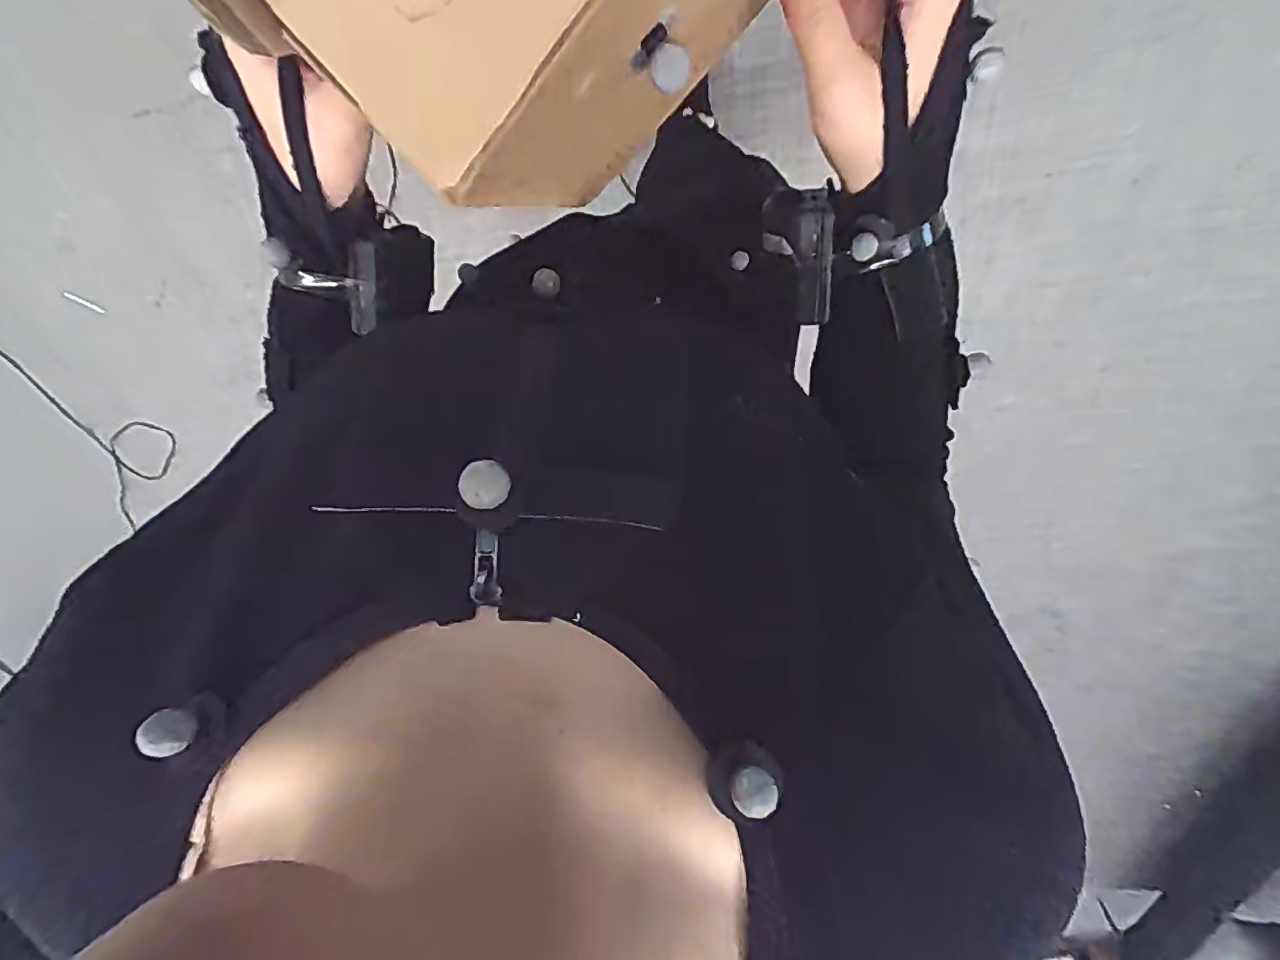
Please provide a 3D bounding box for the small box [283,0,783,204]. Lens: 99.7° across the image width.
[{"bbox_3d":[-0.030,-0.224,0.186,0.179,0.176,0.168,-38,105,24],"label":"small box"}]
